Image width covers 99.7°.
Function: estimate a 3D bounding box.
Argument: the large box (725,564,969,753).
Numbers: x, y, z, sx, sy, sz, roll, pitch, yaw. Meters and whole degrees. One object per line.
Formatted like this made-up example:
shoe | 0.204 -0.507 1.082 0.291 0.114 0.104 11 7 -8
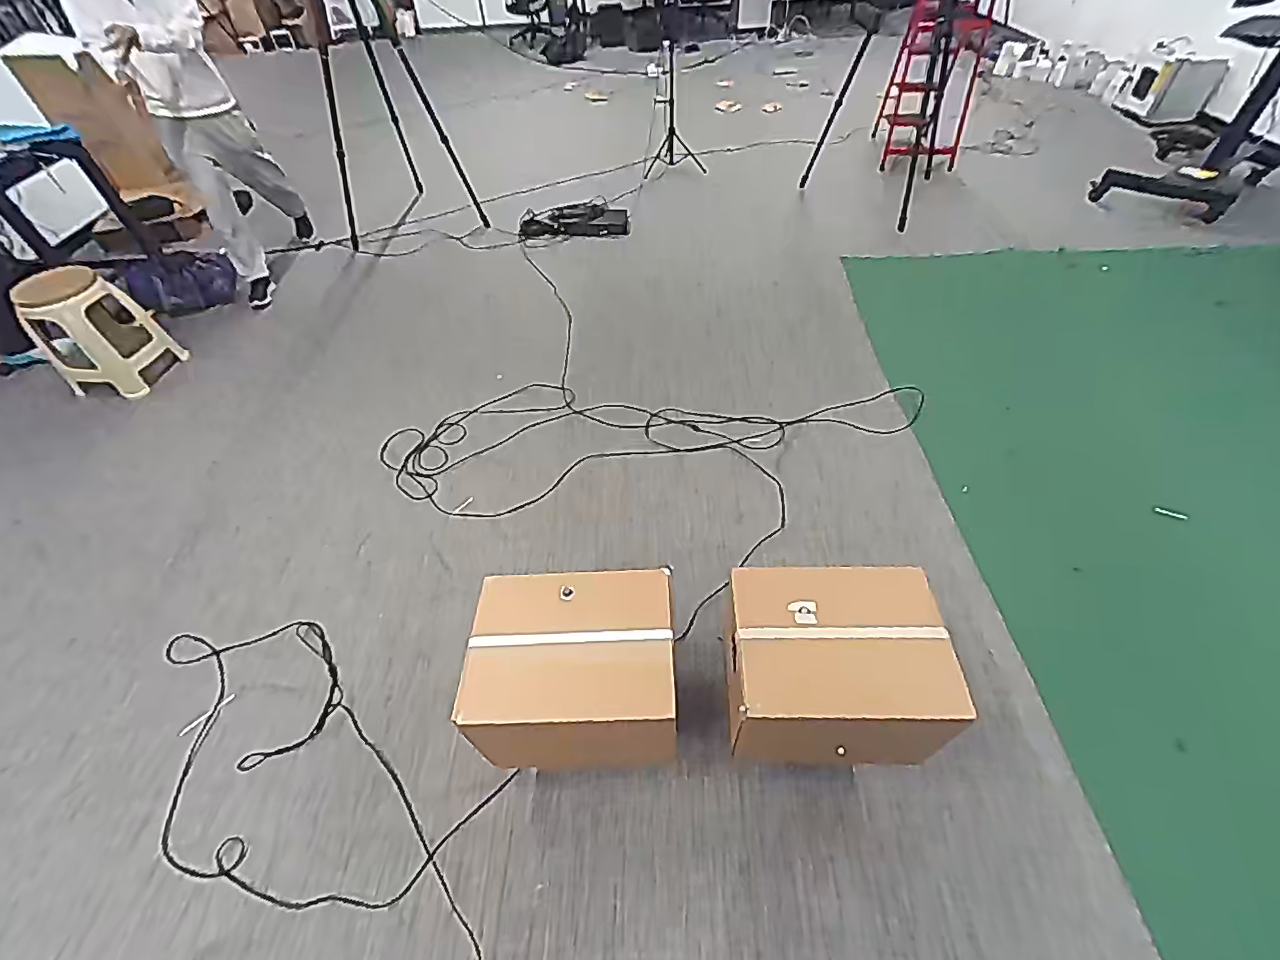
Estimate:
large box | 0.407 0.398 1.184 0.408 0.320 0.320 -1 49 4
